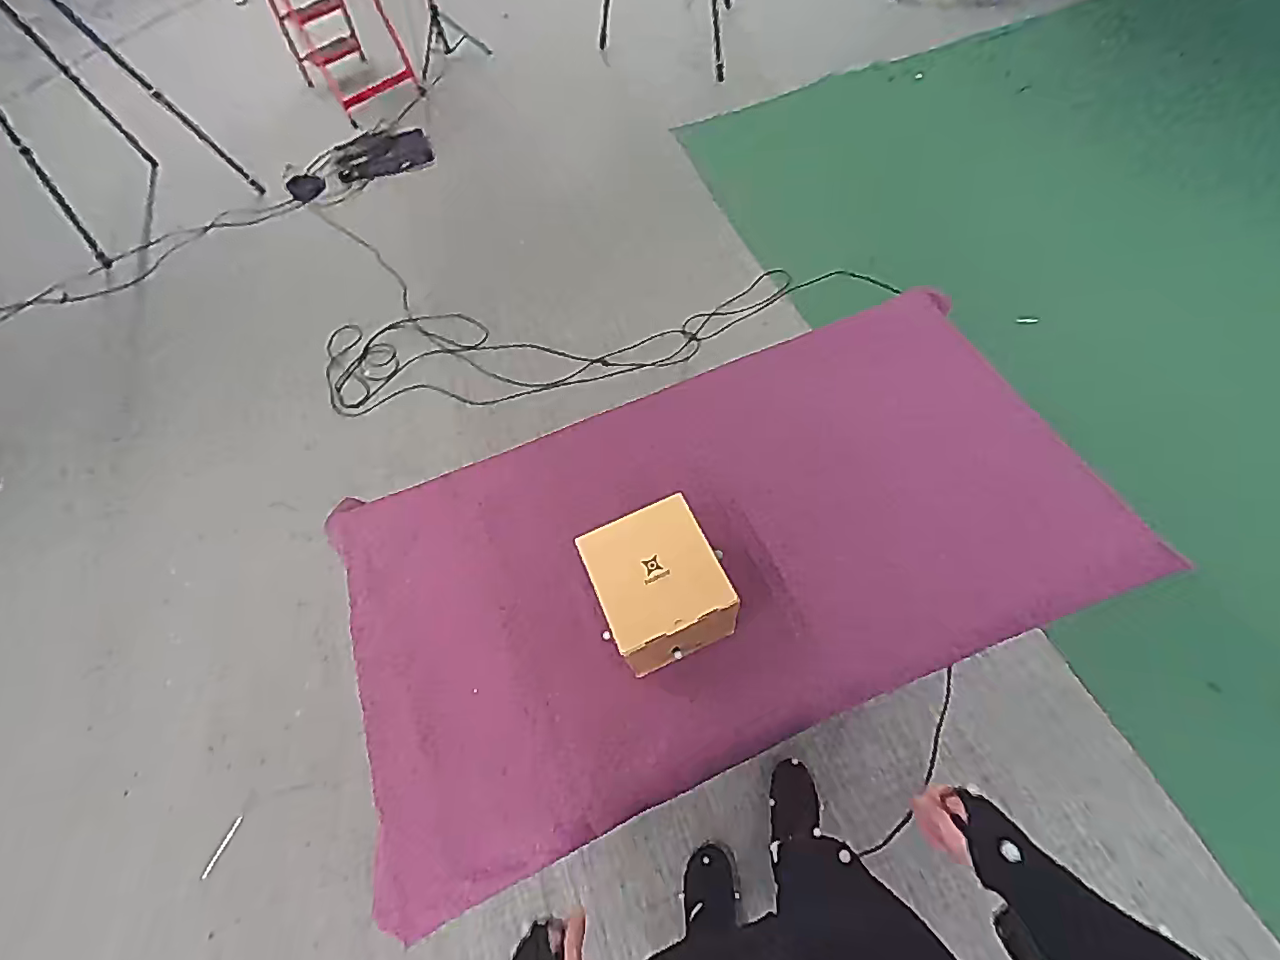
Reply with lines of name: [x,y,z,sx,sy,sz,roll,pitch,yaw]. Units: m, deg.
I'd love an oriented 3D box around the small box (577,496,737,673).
small box: [0.023,0.158,0.789,0.168,0.176,0.179,-23,62,-7]
